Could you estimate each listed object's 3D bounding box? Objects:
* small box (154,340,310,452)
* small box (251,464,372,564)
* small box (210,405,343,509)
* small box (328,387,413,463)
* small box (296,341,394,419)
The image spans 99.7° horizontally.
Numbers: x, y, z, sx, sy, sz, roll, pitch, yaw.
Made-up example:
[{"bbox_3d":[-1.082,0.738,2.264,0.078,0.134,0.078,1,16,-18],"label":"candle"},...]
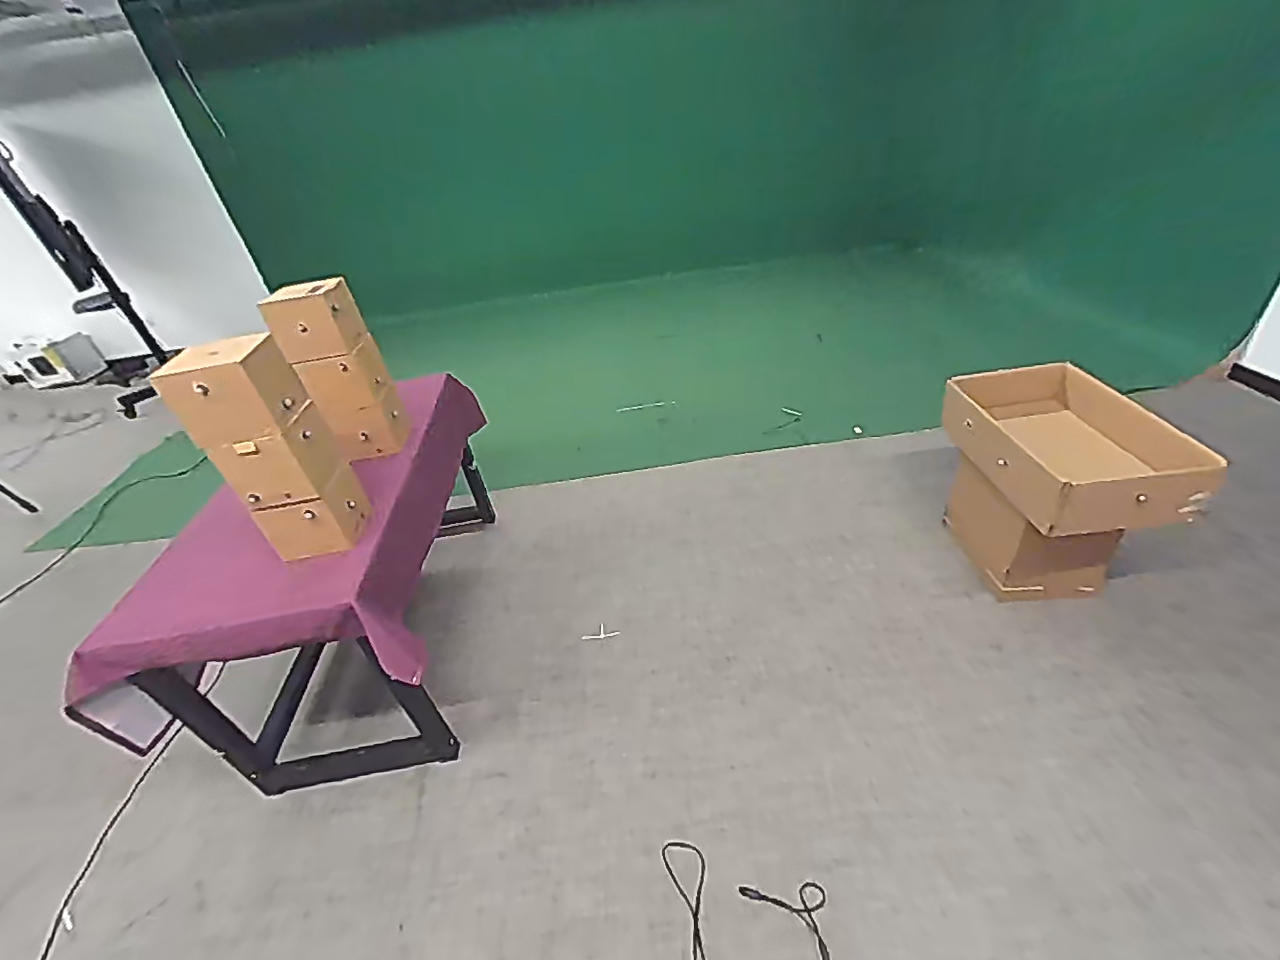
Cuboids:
[{"bbox_3d":[-0.853,-0.177,1.152,0.179,0.176,0.168,-11,36,-3],"label":"small box"},{"bbox_3d":[-0.799,0.085,1.342,0.179,0.176,0.168,-11,34,0],"label":"small box"},{"bbox_3d":[-0.821,-0.047,1.246,0.168,0.176,0.179,-10,34,-1],"label":"small box"},{"bbox_3d":[-0.840,-0.168,1.708,0.168,0.176,0.179,-11,36,-2],"label":"small box"},{"bbox_3d":[-0.870,-0.296,1.611,0.179,0.176,0.168,-10,35,-1],"label":"small box"}]
